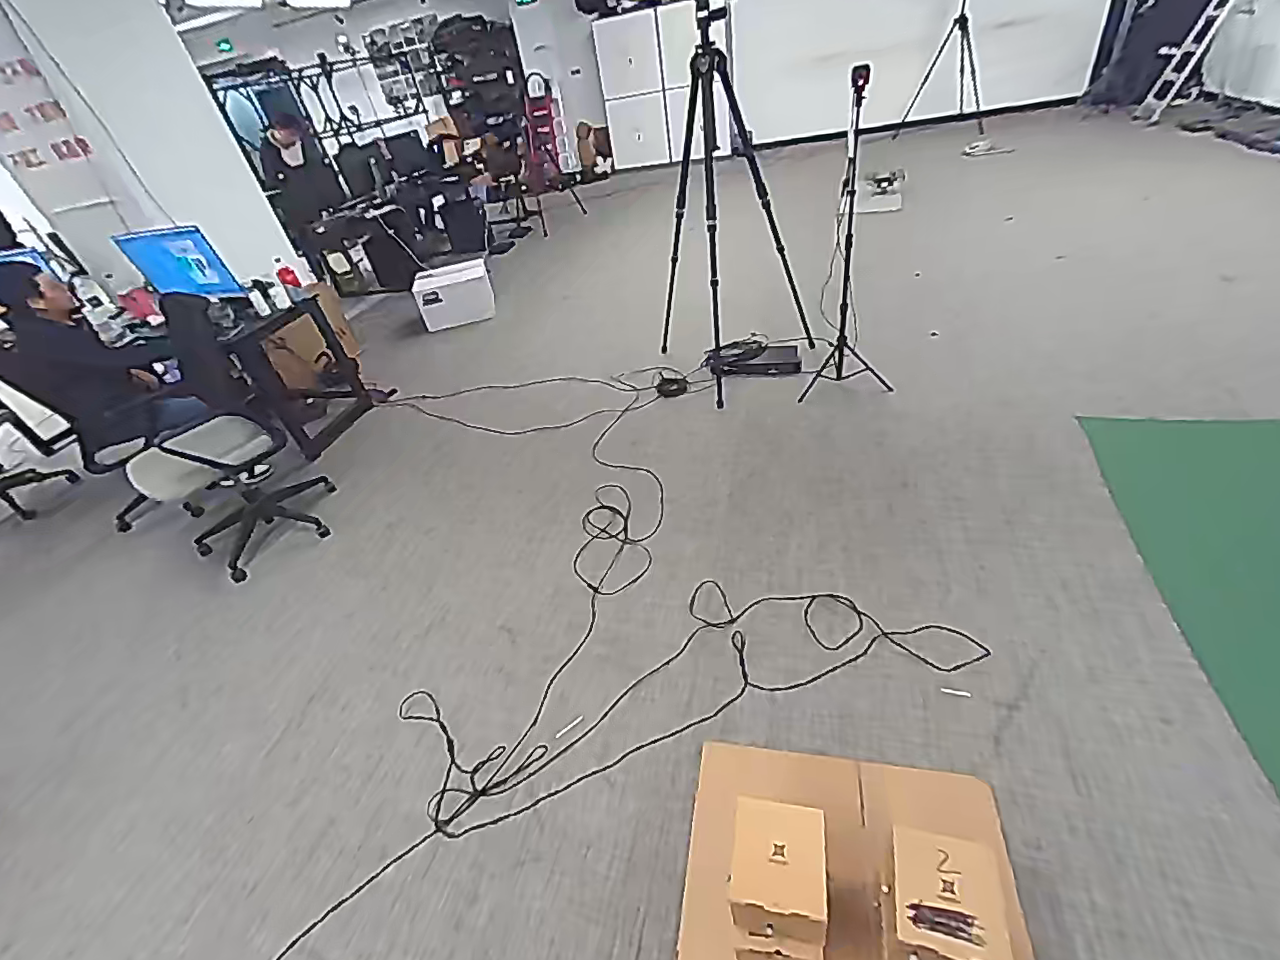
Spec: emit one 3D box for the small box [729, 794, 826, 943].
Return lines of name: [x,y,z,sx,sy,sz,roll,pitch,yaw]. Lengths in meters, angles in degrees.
small box: [0.266,0.744,1.040,0.168,0.176,0.179,1,40,16]

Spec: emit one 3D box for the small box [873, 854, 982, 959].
small box: [0.554,0.881,1.060,0.168,0.176,0.179,3,41,20]

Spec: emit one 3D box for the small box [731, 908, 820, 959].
small box: [0.282,0.887,1.121,0.168,0.176,0.179,-1,39,14]
